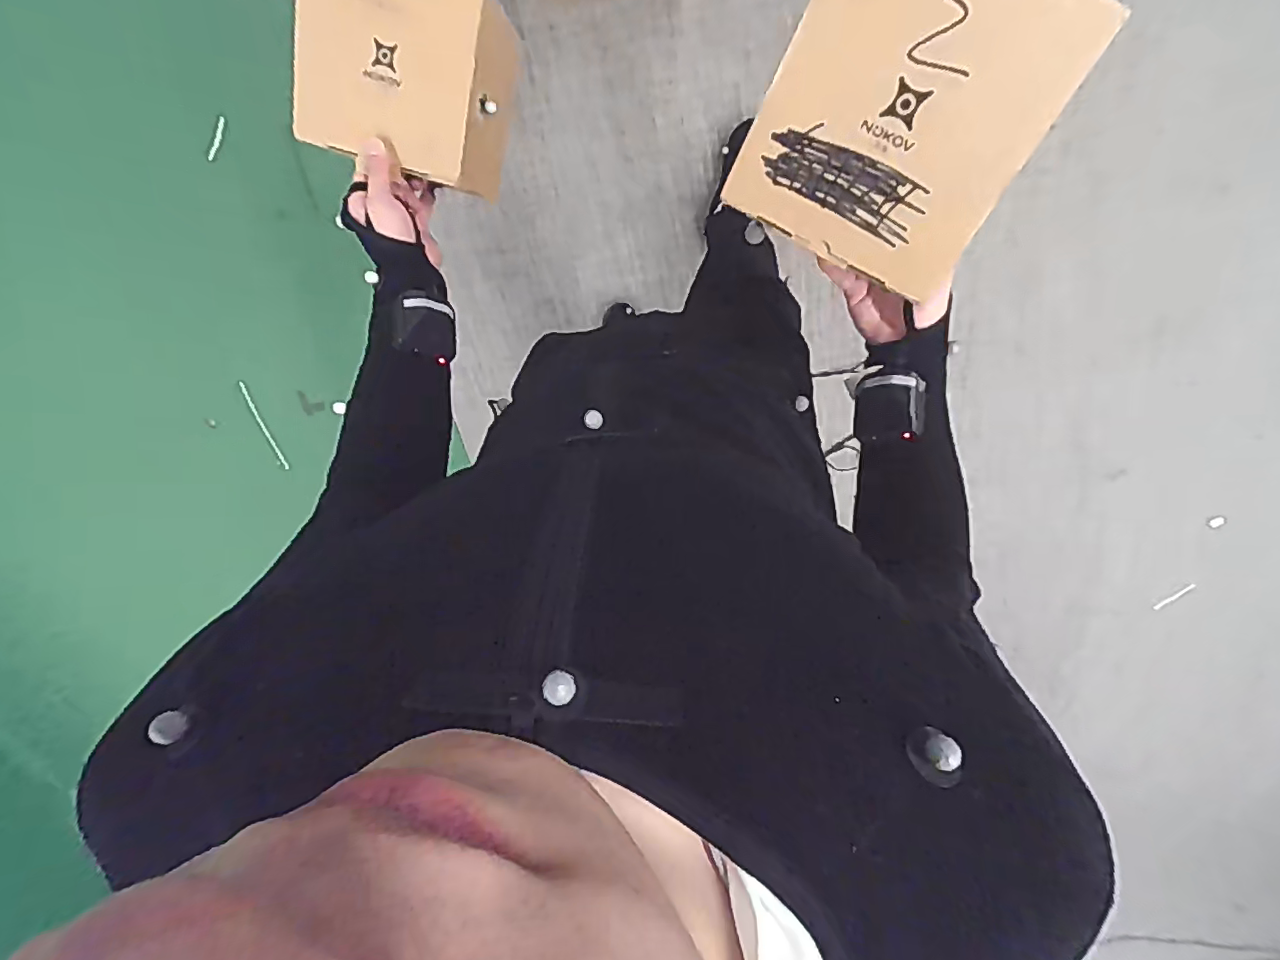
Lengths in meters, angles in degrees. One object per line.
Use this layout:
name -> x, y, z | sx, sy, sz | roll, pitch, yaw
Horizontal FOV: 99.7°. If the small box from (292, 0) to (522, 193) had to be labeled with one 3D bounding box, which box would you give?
small box -> -0.235, -0.429, 0.577 | 0.168, 0.176, 0.179 | 15, 109, -4
